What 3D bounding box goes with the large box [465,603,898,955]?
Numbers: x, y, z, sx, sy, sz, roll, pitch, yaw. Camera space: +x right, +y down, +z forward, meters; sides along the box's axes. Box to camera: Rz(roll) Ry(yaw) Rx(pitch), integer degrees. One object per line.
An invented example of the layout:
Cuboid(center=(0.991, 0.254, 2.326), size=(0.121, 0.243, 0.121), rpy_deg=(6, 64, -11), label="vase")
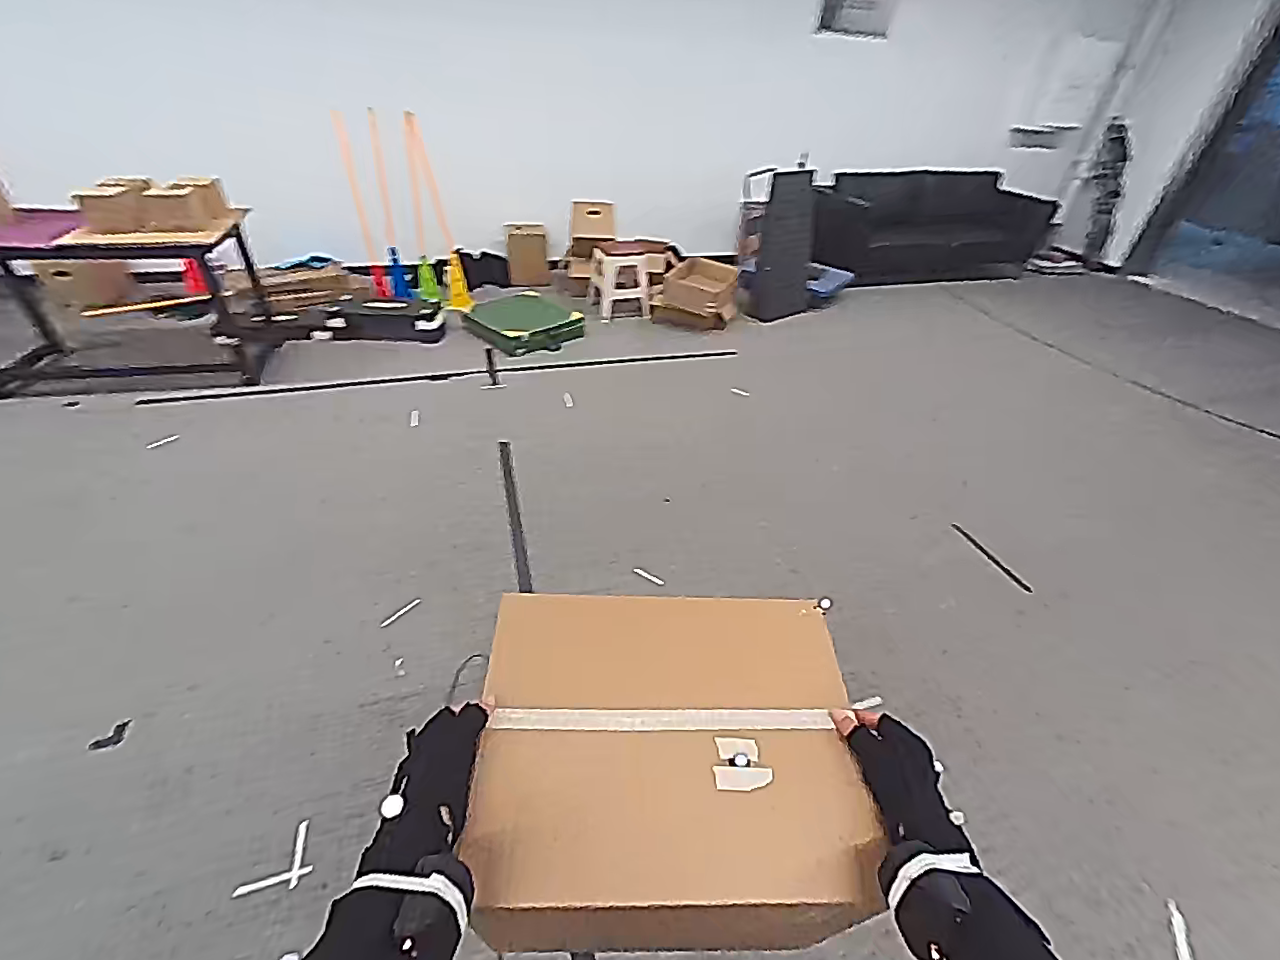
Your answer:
Cuboid(center=(0.025, 0.373, 0.690), size=(0.408, 0.320, 0.320), rpy_deg=(2, 43, -4), label="large box")
